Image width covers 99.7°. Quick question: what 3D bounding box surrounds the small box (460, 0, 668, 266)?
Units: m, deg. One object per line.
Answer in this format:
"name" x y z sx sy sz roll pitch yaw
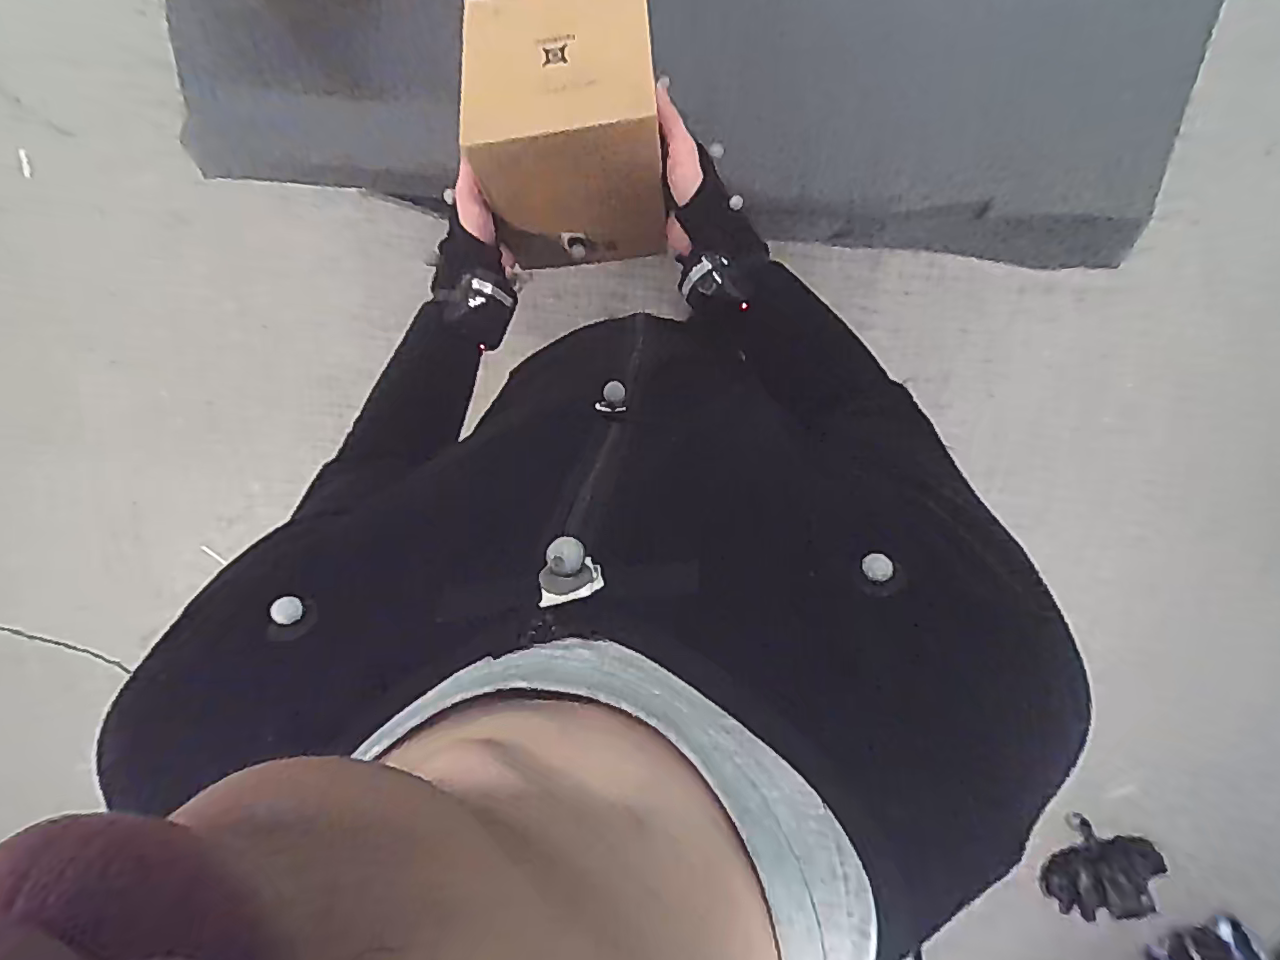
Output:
"small box" -0.062 -0.343 0.532 0.168 0.176 0.179 -5 74 5
